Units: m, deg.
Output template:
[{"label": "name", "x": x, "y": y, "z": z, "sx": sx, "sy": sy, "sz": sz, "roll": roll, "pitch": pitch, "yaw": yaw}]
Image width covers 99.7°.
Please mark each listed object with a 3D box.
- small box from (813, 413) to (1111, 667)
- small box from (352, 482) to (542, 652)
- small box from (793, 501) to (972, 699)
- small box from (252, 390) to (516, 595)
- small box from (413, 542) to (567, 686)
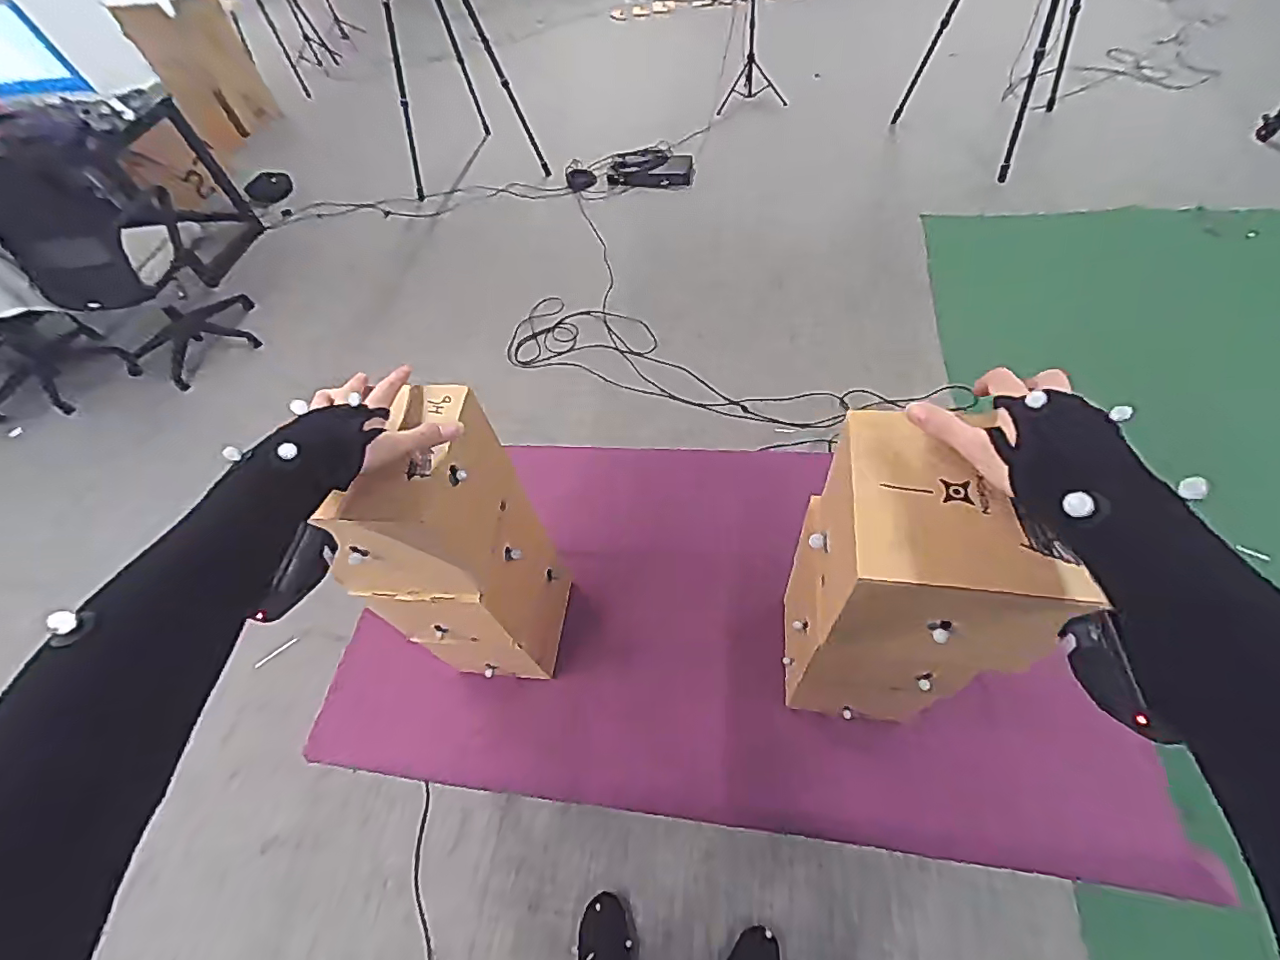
[{"label": "small box", "x": 0.259, "y": 0.059, "z": 0.489, "sx": 0.179, "sy": 0.176, "sz": 0.168, "roll": 4, "pitch": 56, "yaw": 12}, {"label": "small box", "x": -0.241, "y": 0.116, "z": 0.732, "sx": 0.168, "sy": 0.176, "sz": 0.179, "roll": 1, "pitch": 56, "yaw": 9}, {"label": "small box", "x": 0.272, "y": 0.143, "z": 0.630, "sx": 0.168, "sy": 0.176, "sz": 0.179, "roll": 2, "pitch": 56, "yaw": 10}, {"label": "small box", "x": -0.261, "y": 0.020, "z": 0.600, "sx": 0.179, "sy": 0.176, "sz": 0.168, "roll": -1, "pitch": 55, "yaw": 9}, {"label": "small box", "x": -0.223, "y": 0.210, "z": 0.863, "sx": 0.168, "sy": 0.176, "sz": 0.179, "roll": 1, "pitch": 55, "yaw": 10}]
